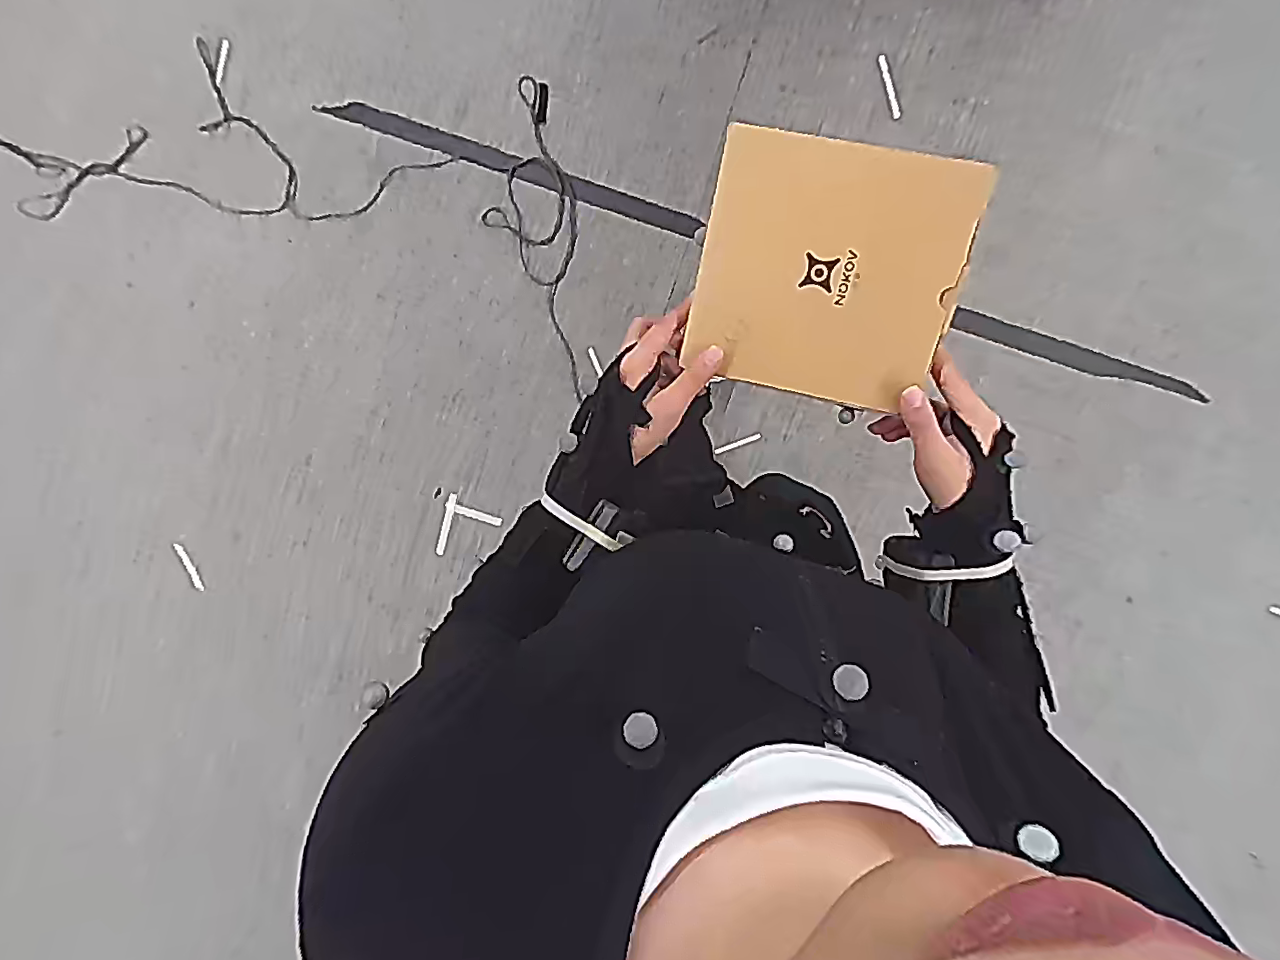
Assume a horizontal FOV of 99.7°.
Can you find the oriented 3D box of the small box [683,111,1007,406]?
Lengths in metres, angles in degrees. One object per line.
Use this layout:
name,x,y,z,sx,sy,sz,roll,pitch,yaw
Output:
small box,0.143,-0.164,0.443,0.179,0.176,0.168,14,105,5
